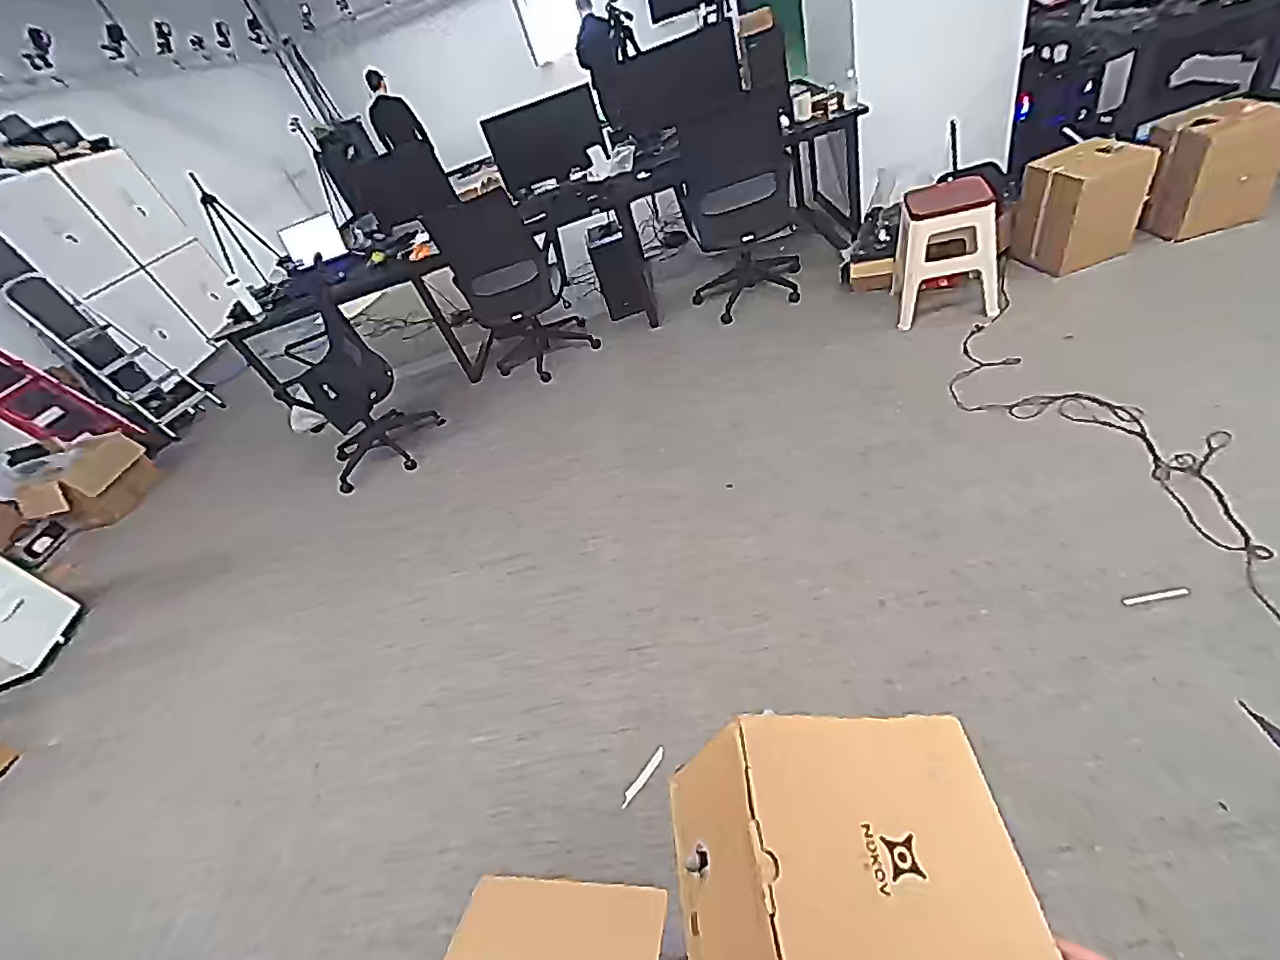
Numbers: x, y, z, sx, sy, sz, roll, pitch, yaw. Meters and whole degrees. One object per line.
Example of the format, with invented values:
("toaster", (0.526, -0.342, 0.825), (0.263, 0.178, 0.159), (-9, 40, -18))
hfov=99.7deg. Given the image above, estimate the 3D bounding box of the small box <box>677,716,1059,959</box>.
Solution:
("small box", (0.138, 0.281, 0.388), (0.179, 0.176, 0.168), (5, 49, -12))
